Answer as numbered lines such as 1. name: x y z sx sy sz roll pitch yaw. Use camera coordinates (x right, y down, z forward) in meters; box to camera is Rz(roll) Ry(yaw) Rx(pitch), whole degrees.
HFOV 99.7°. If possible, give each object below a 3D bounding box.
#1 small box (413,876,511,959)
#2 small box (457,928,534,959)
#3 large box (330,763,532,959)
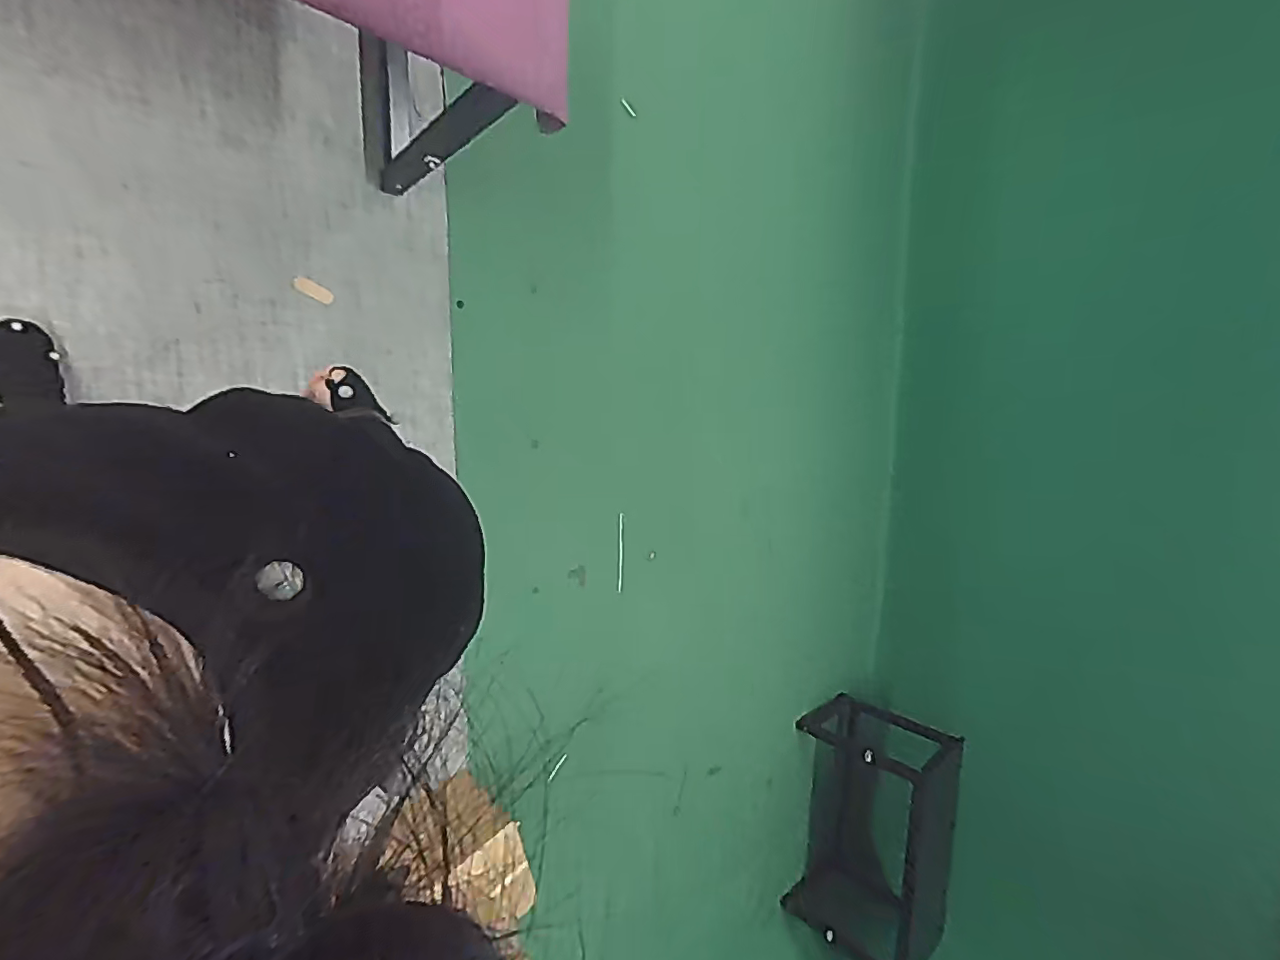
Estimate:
1. small box: -0.438 1.156 1.353 0.179 0.176 0.168 -20 108 -40
2. small box: -0.332 1.180 1.229 0.168 0.176 0.179 -18 107 -41
3. large box: -0.587 1.120 1.545 0.408 0.320 0.320 -25 114 -40
